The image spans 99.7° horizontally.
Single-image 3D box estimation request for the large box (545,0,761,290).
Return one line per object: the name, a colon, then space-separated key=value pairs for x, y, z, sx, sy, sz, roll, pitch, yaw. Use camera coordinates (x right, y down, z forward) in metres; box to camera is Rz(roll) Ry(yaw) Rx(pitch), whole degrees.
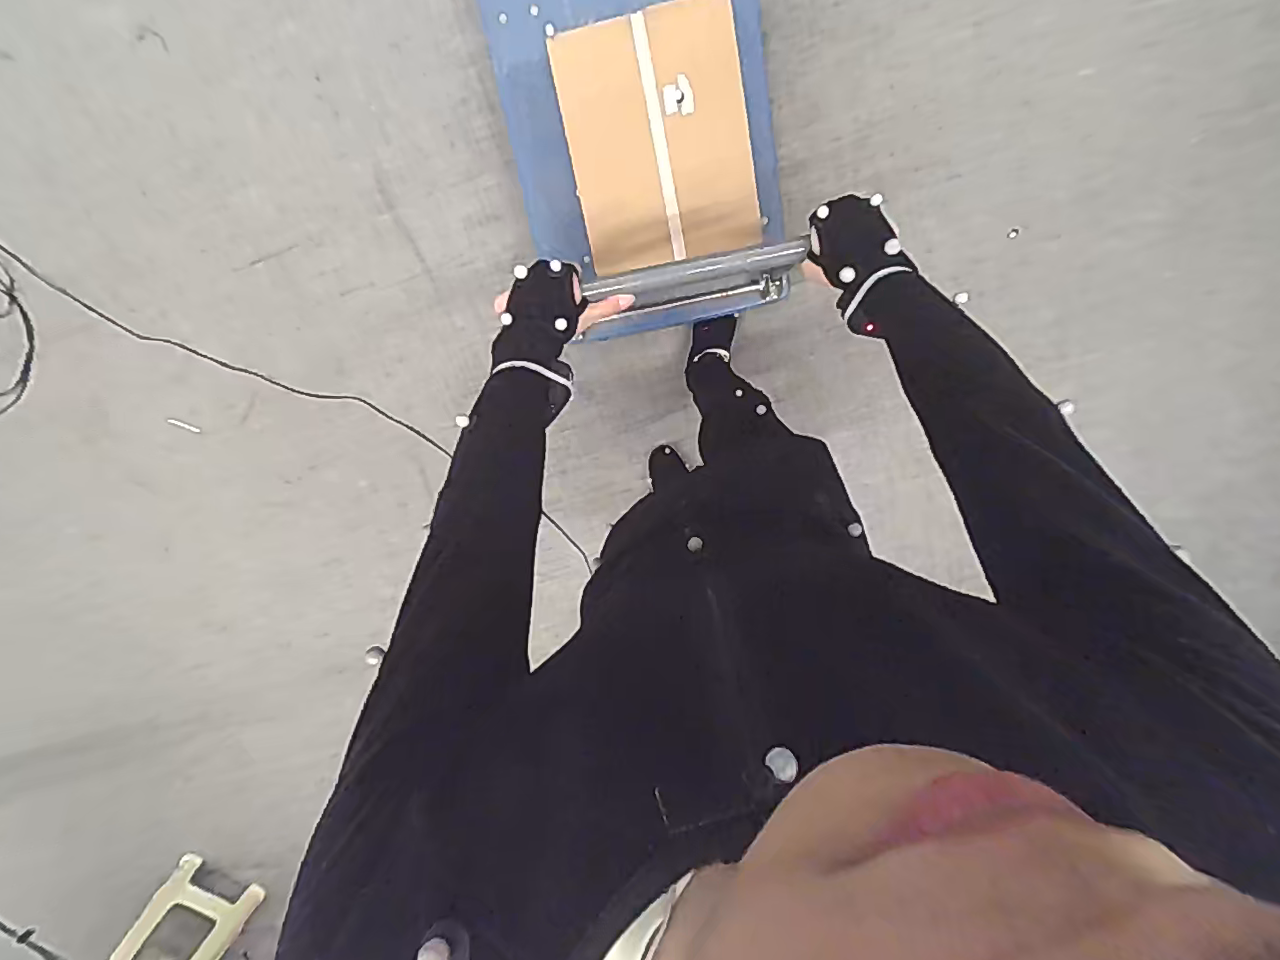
large box: x=0.036 y=-0.628 z=1.086 sx=0.320 sy=0.320 sz=0.408 roll=-11 pitch=105 yaw=4
